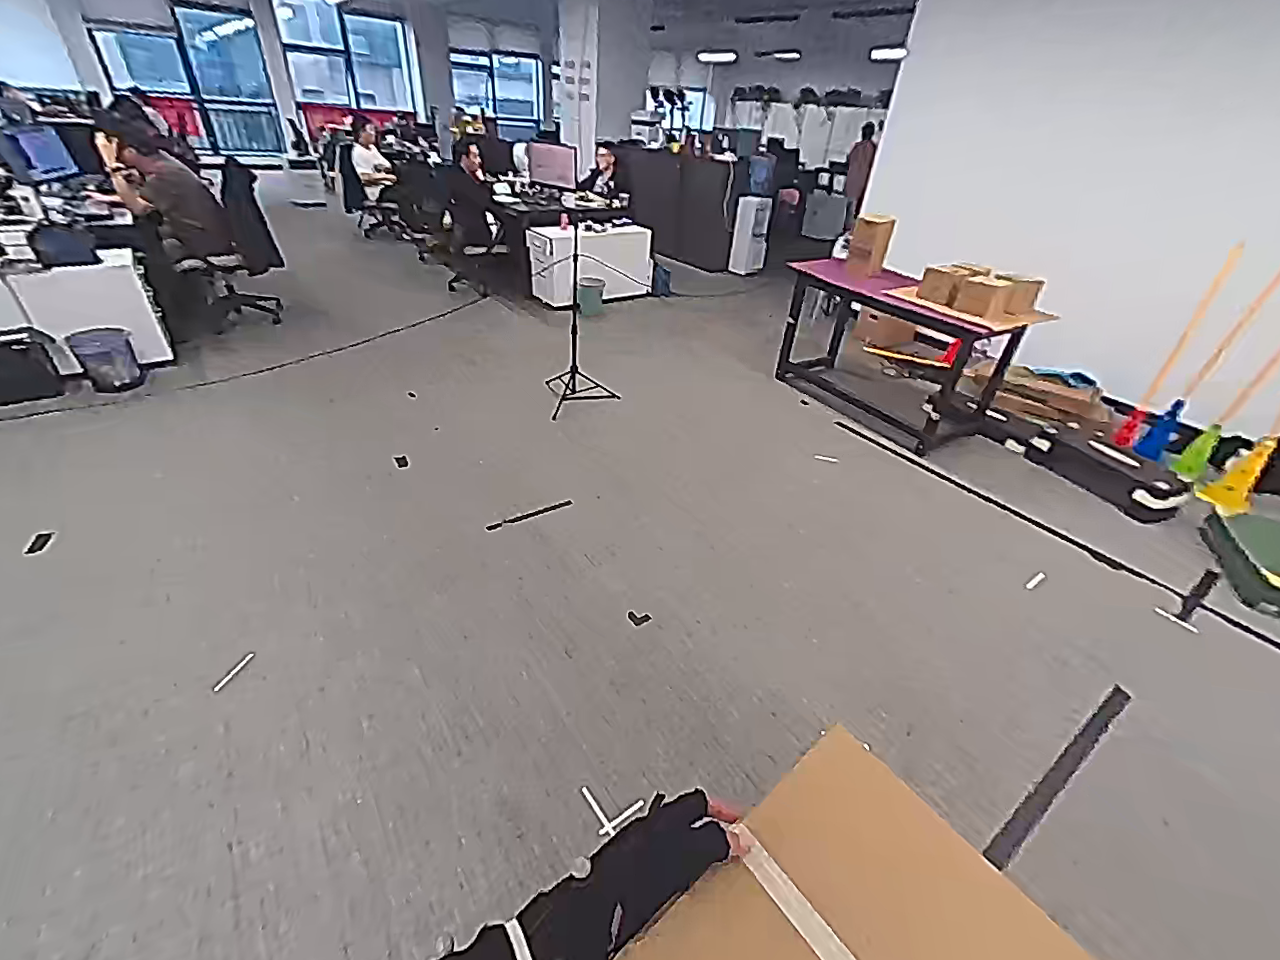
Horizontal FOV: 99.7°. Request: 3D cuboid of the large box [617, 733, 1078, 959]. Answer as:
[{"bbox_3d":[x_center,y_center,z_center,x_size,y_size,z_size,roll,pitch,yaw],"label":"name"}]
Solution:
[{"bbox_3d":[0.197,0.533,0.475,0.320,0.320,0.408,-27,50,-31],"label":"large box"}]
